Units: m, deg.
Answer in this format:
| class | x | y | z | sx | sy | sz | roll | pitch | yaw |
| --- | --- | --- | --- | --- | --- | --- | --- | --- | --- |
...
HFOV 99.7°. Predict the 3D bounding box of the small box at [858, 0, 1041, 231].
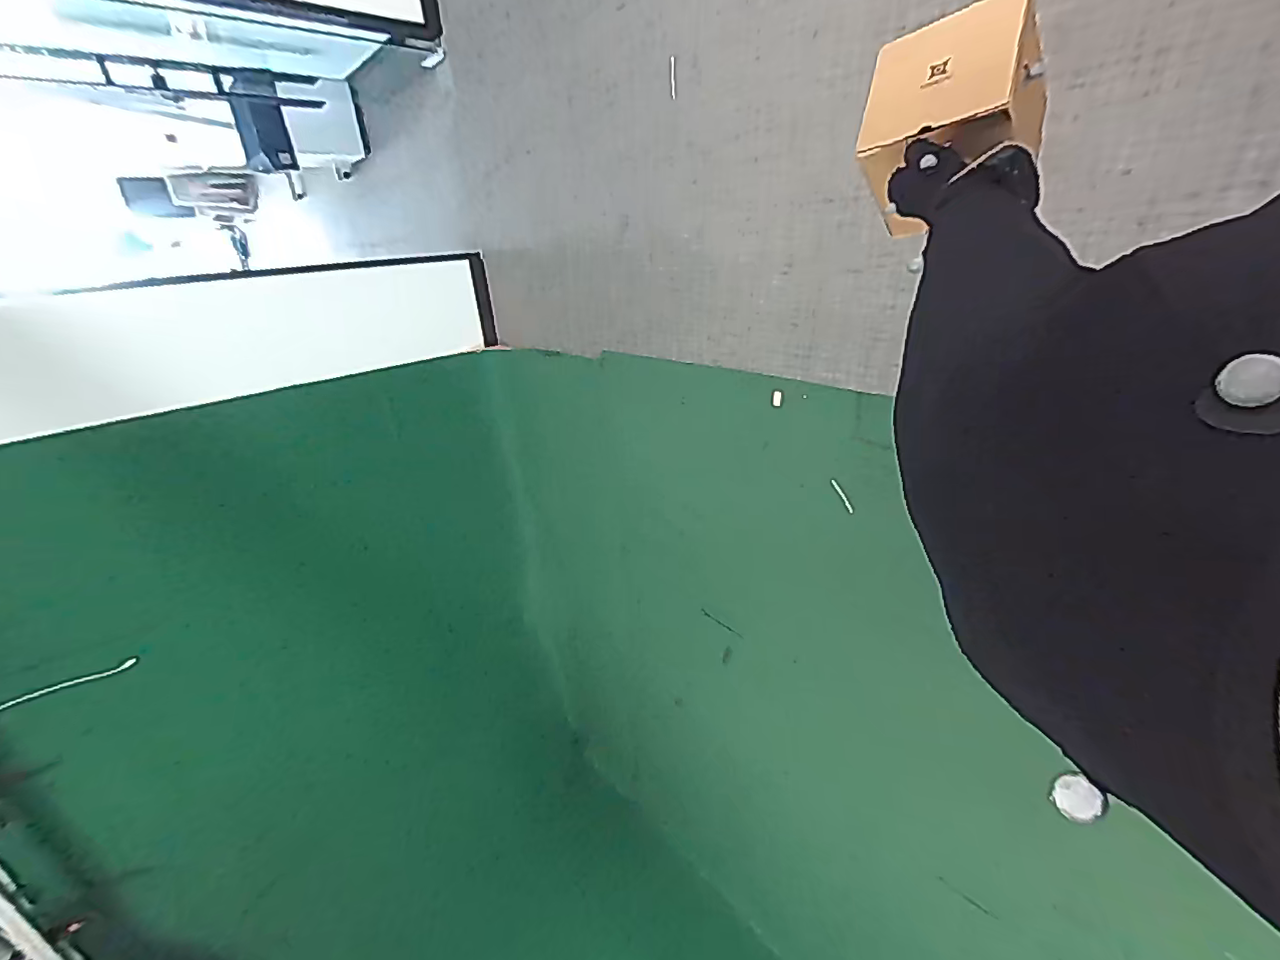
| class | x | y | z | sx | sy | sz | roll | pitch | yaw |
| --- | --- | --- | --- | --- | --- | --- | --- | --- | --- |
| small box | 0.410 | -0.467 | 0.708 | 0.168 | 0.176 | 0.179 | 5 | 75 | 43 |
